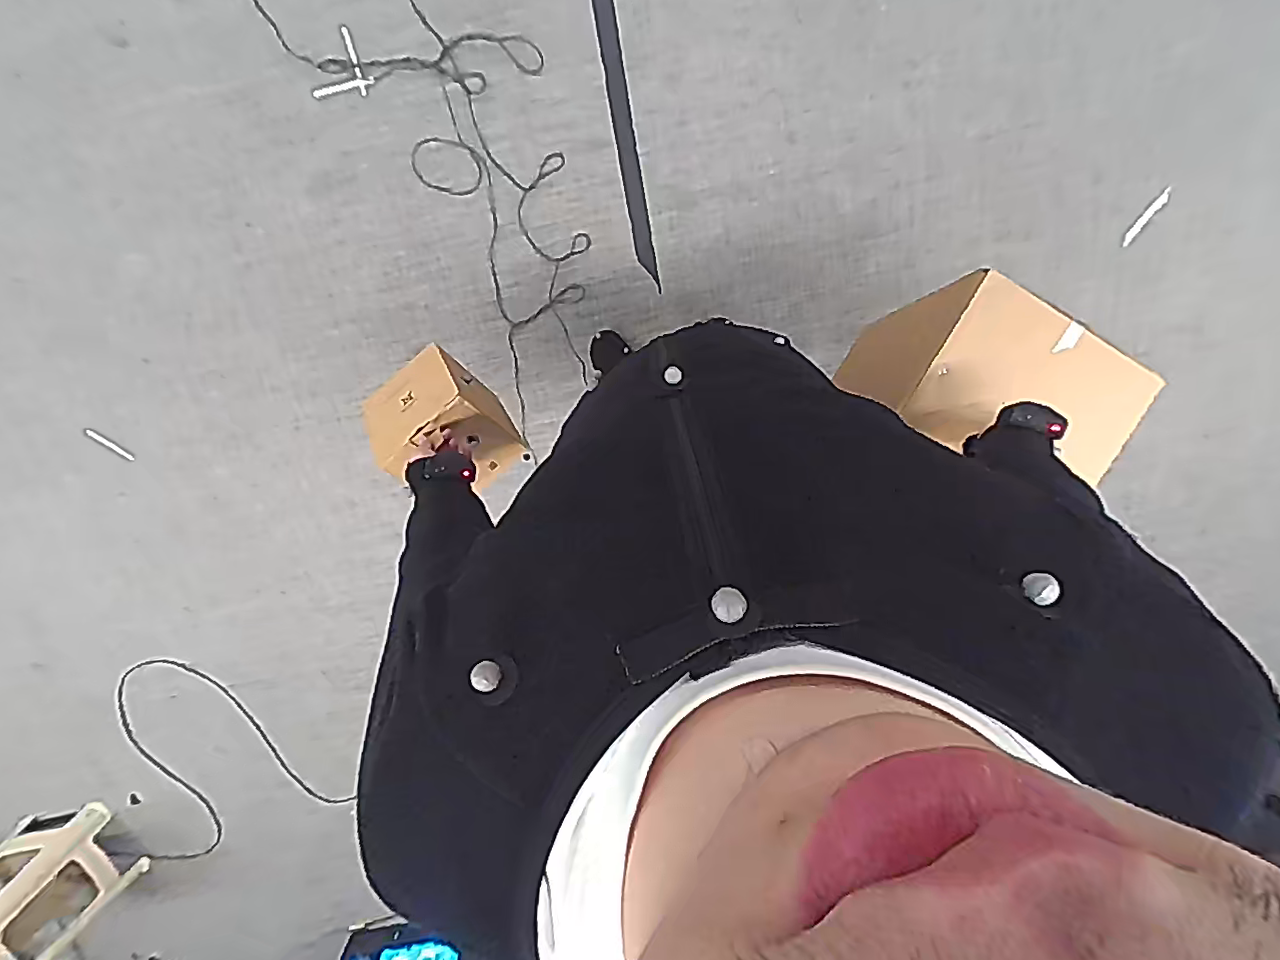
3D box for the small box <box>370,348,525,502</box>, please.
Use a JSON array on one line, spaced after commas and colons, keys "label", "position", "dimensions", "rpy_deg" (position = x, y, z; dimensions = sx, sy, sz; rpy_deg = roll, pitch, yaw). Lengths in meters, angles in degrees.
[{"label": "small box", "position": [-0.324, -0.084, 0.923], "dimensions": [0.168, 0.179, 0.176], "rpy_deg": [-40, 139, 3]}]
